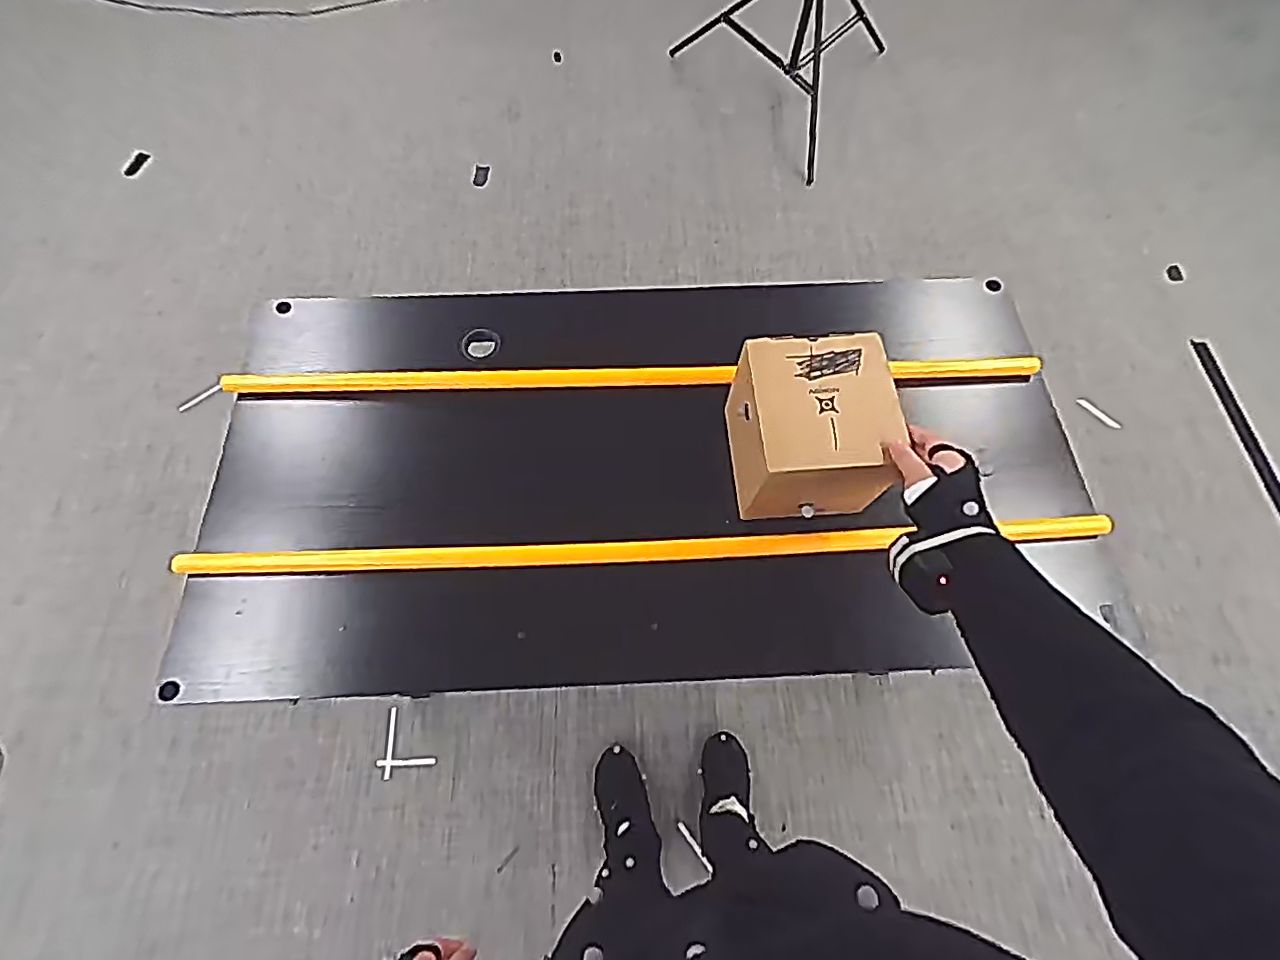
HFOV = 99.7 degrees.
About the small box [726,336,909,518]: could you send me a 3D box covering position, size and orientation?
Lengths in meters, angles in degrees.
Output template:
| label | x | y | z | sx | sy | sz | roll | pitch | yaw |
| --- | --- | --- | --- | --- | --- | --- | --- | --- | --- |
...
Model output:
| label | x | y | z | sx | sy | sz | roll | pitch | yaw |
| --- | --- | --- | --- | --- | --- | --- | --- | --- | --- |
| small box | 0.211 | -0.063 | 0.700 | 0.168 | 0.176 | 0.179 | -4 | 68 | -1 |
